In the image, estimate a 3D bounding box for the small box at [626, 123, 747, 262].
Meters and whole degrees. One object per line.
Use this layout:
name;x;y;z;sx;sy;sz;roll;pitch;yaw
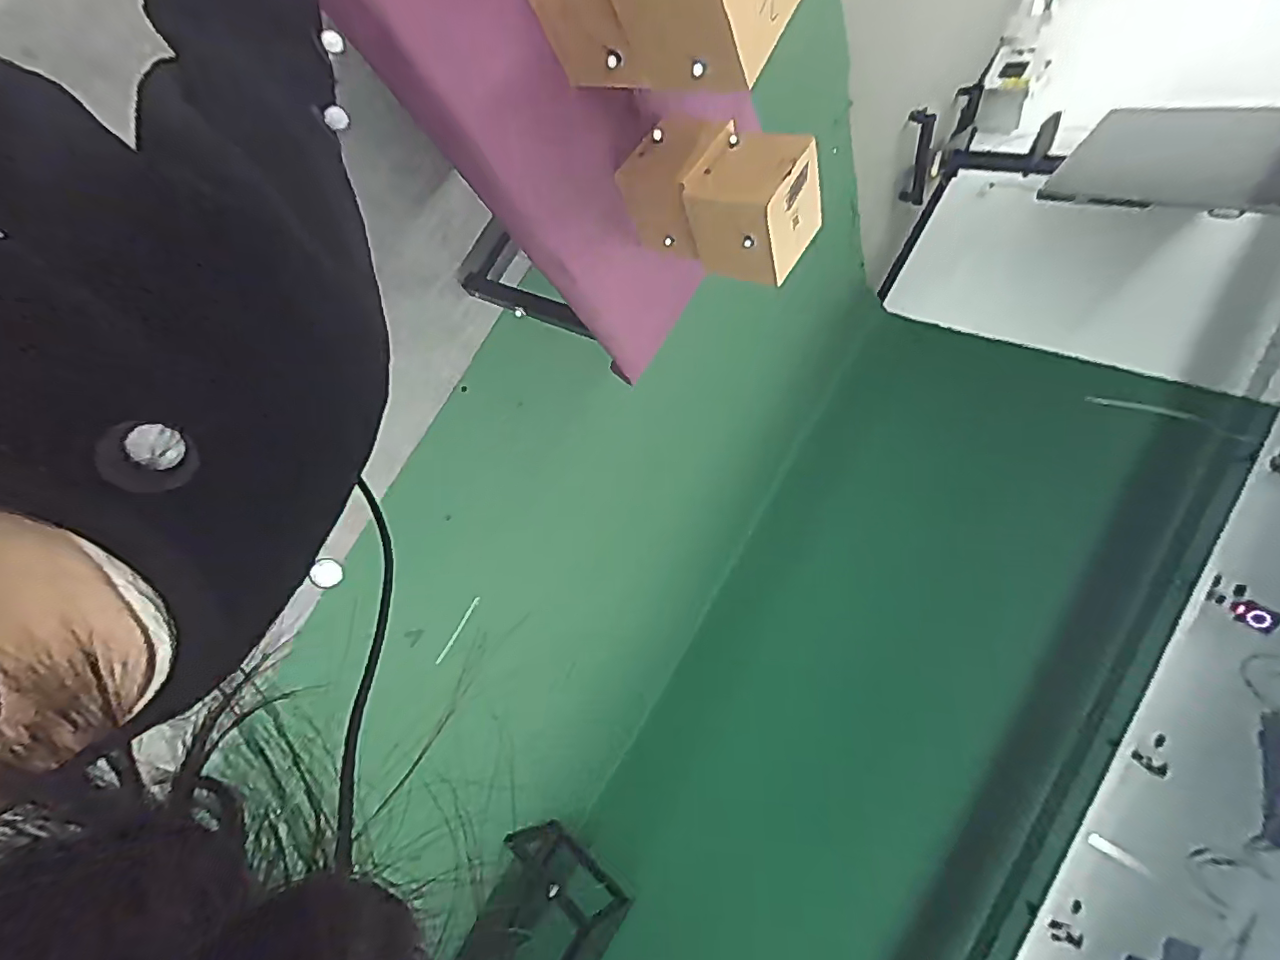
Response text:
small box;0.103;-0.559;1.047;0.168;0.176;0.179;-55;146;-13

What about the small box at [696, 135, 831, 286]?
small box;0.221;-0.480;0.964;0.168;0.176;0.179;-55;147;-12

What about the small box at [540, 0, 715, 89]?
small box;-0.026;-0.698;0.763;0.168;0.176;0.179;-58;147;-7
